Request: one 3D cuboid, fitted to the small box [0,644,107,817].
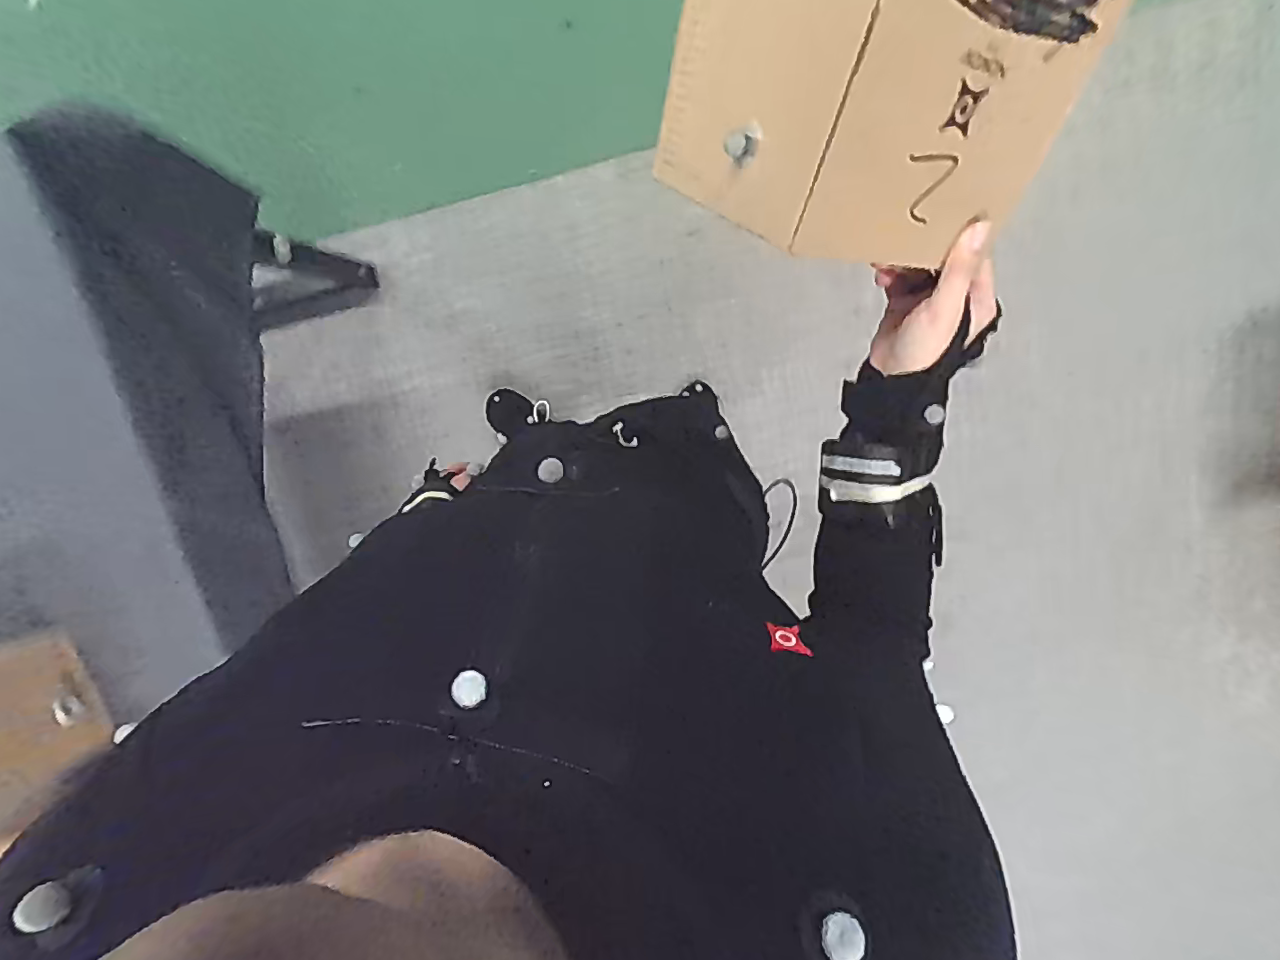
[{"bbox_3d":[-0.826,0.326,0.652,0.179,0.176,0.168,-16,101,7],"label":"small box"}]
